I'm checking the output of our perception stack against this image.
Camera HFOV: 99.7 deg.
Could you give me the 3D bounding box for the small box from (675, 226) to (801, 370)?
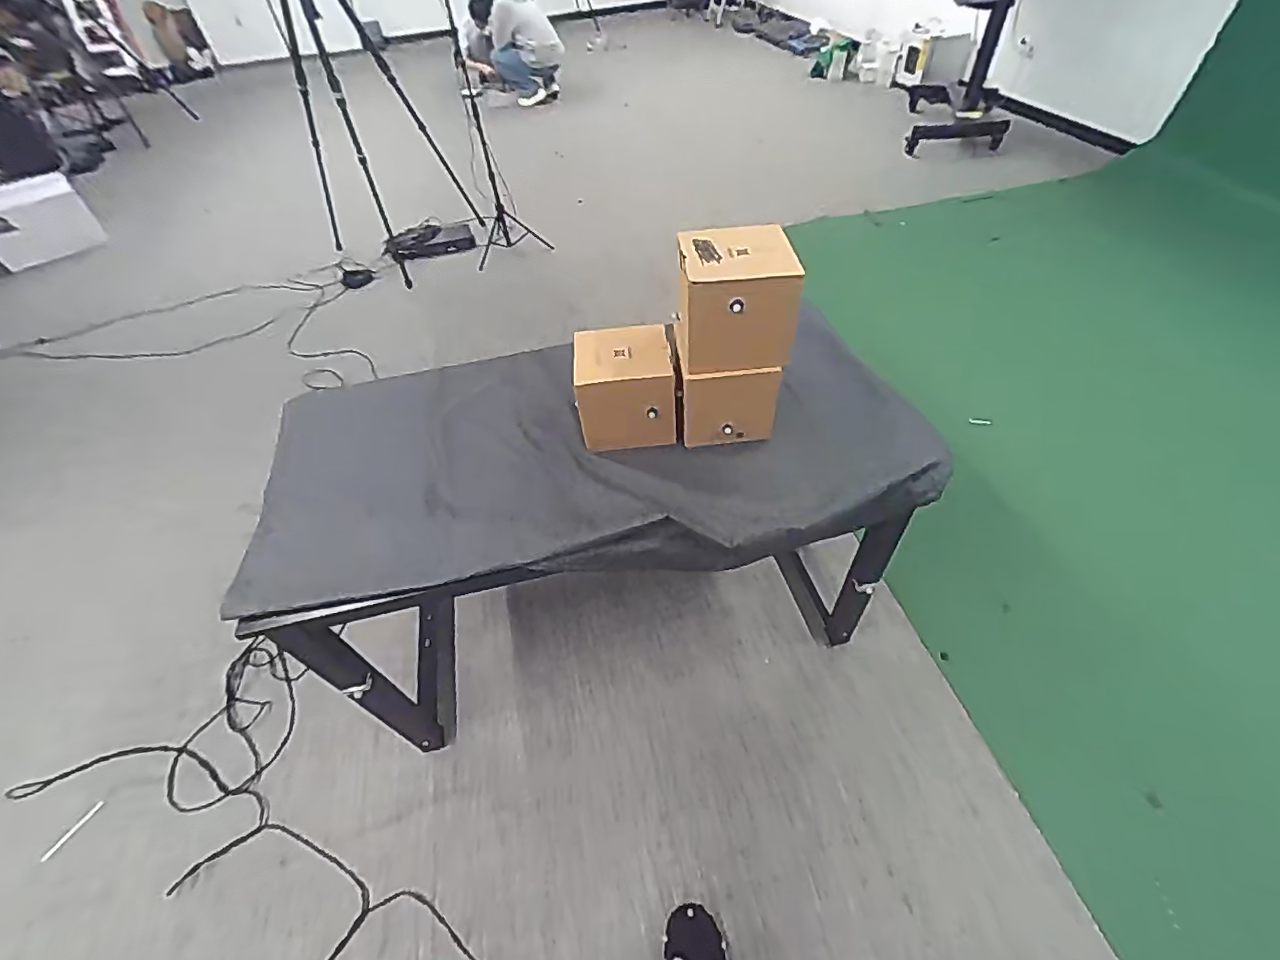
[{"bbox_3d":[0.155,-0.301,0.909,0.179,0.176,0.168,-5,50,0],"label":"small box"}]
